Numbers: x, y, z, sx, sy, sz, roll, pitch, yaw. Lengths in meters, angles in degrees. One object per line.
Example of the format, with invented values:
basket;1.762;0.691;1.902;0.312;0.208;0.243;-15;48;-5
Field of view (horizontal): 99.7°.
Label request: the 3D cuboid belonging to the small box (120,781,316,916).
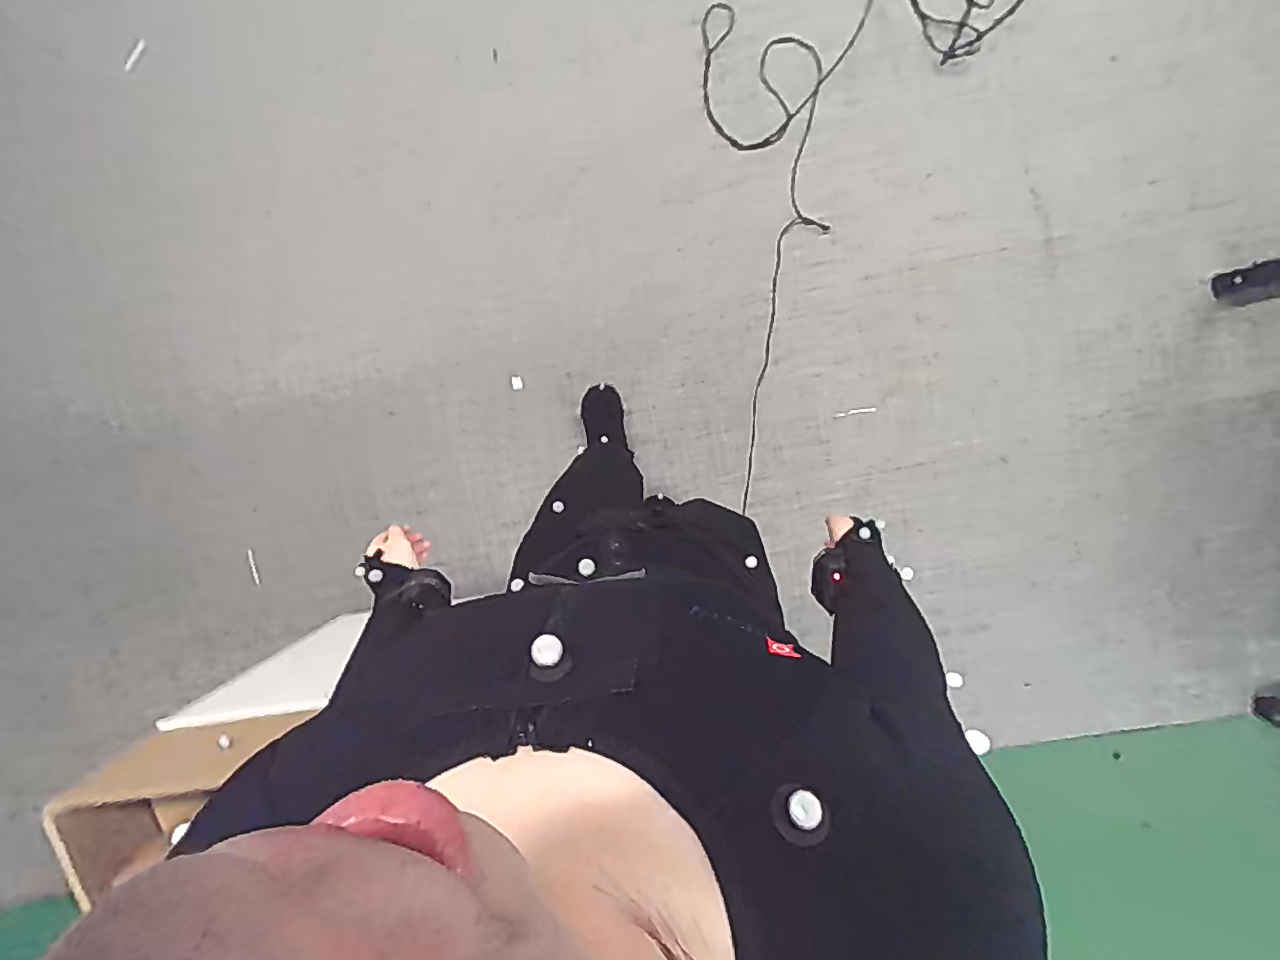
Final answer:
small box;-0.667;0.634;0.883;0.168;0.176;0.179;-9;102;1
